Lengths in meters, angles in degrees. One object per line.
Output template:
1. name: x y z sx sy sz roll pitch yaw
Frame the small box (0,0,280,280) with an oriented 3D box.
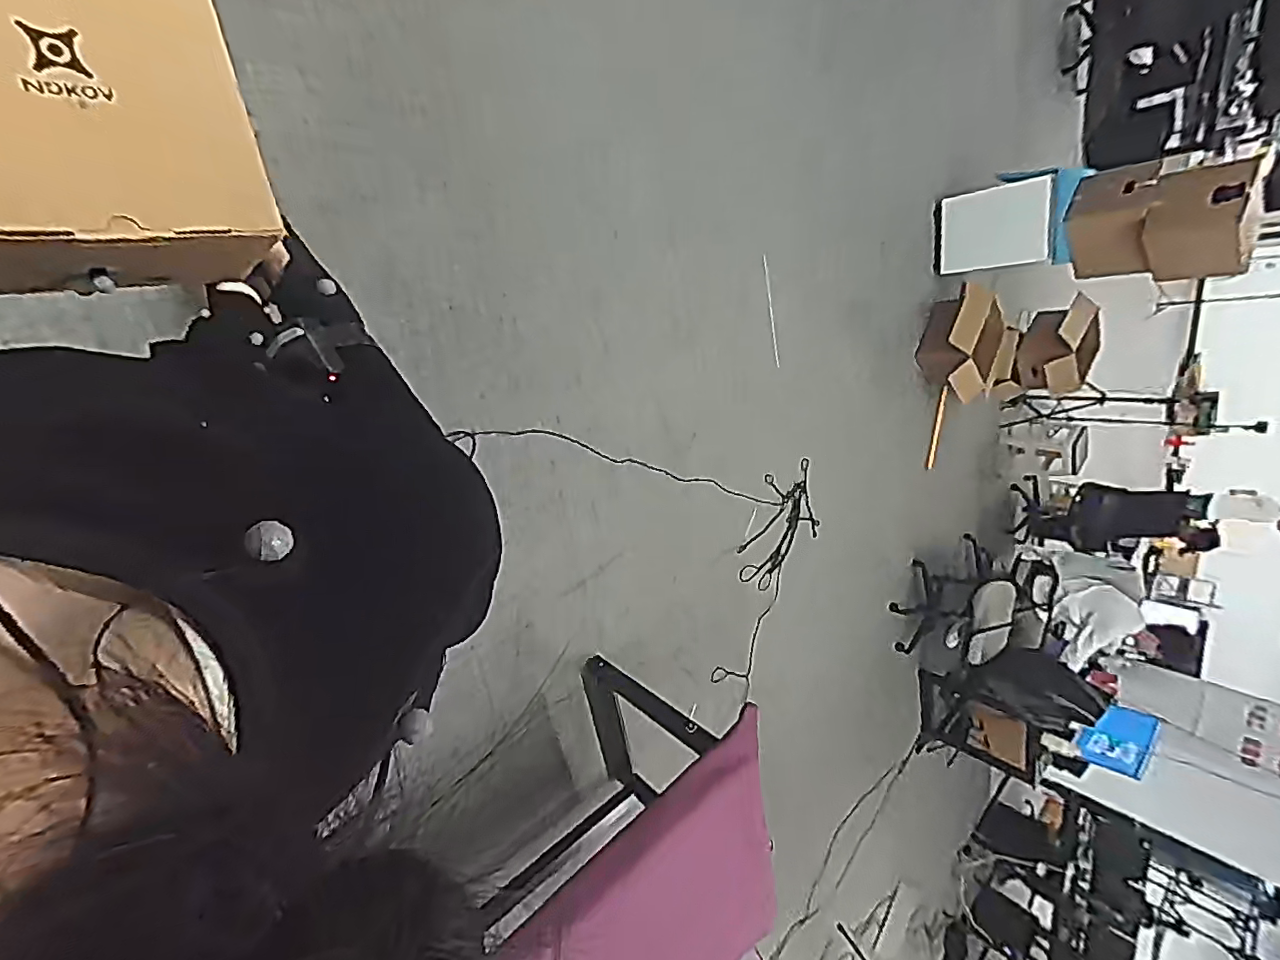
1. small box: -0.359 -0.232 0.332 0.168 0.176 0.179 -24 111 -40
